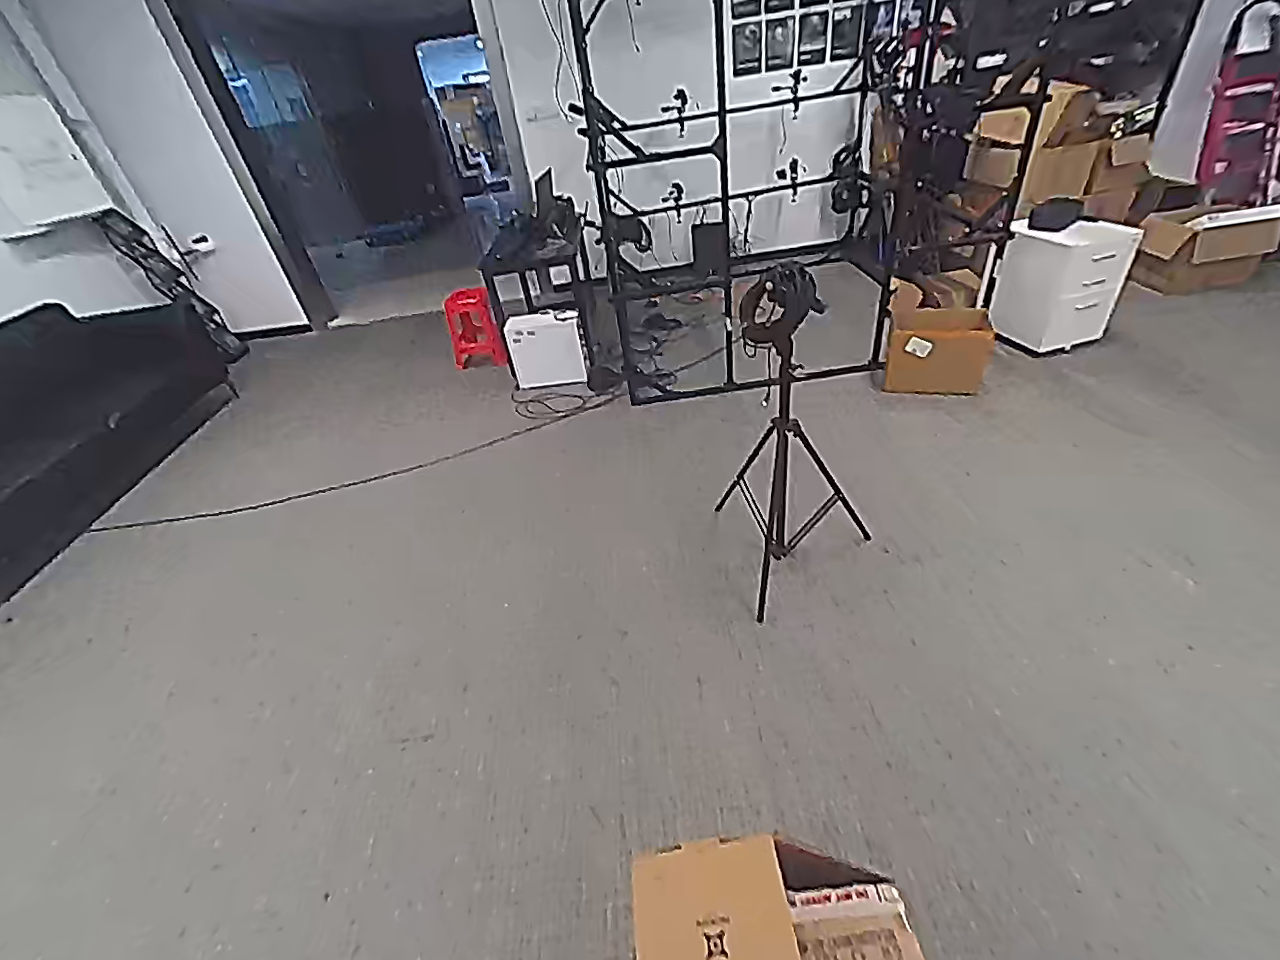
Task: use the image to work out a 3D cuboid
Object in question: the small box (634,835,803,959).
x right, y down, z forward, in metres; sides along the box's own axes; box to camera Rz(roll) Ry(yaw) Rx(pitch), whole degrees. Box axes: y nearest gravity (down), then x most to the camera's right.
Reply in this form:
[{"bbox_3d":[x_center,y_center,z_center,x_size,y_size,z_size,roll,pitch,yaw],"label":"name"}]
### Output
[{"bbox_3d":[0.090,0.531,0.600,0.168,0.176,0.179,-11,39,2],"label":"small box"}]
